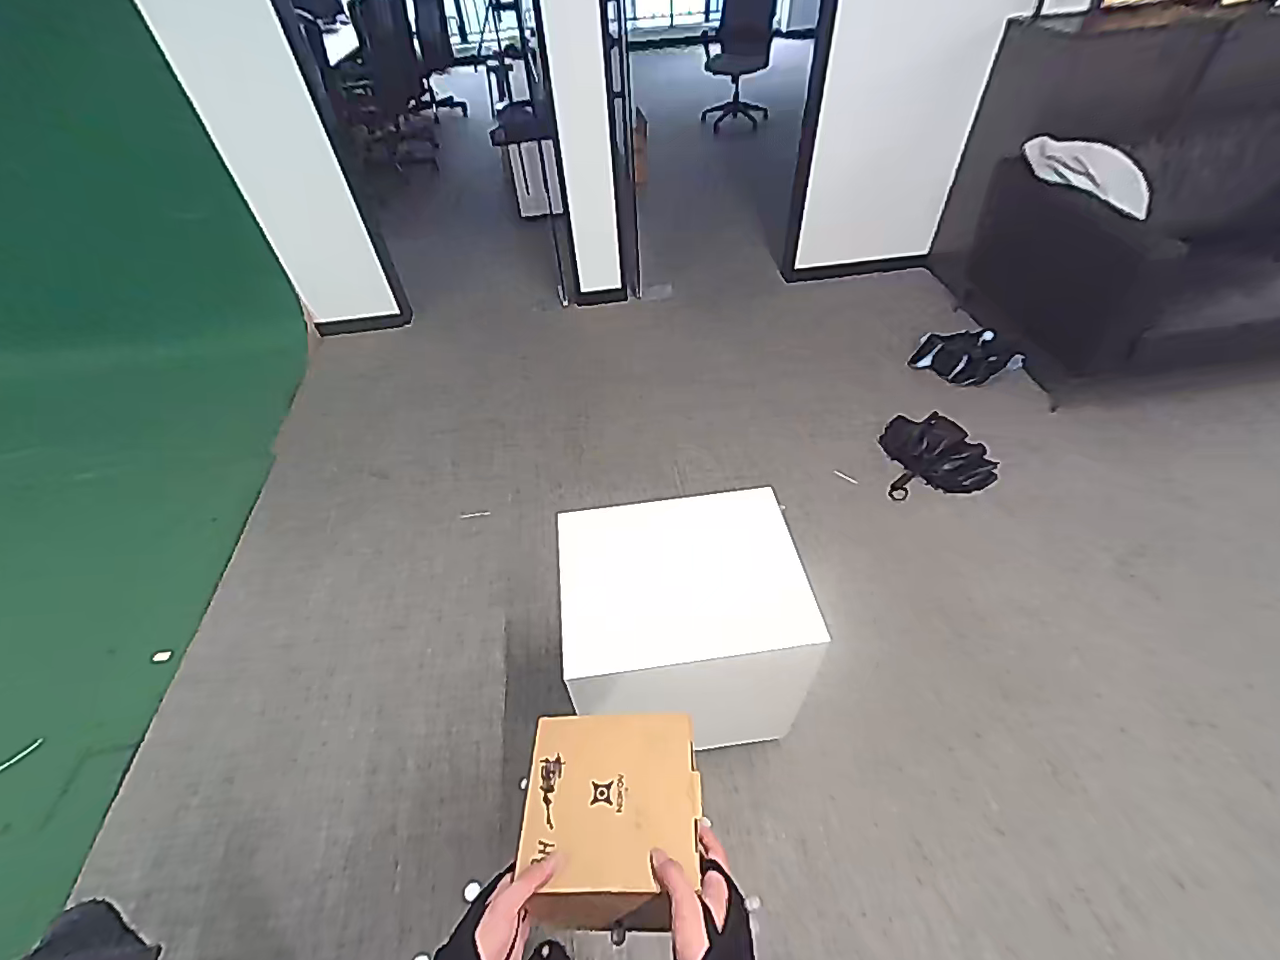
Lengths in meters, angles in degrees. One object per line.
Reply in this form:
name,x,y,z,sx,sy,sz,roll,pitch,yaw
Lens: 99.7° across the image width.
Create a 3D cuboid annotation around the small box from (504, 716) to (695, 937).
small box,-0.033,0.381,0.599,0.179,0.176,0.168,-1,40,3
